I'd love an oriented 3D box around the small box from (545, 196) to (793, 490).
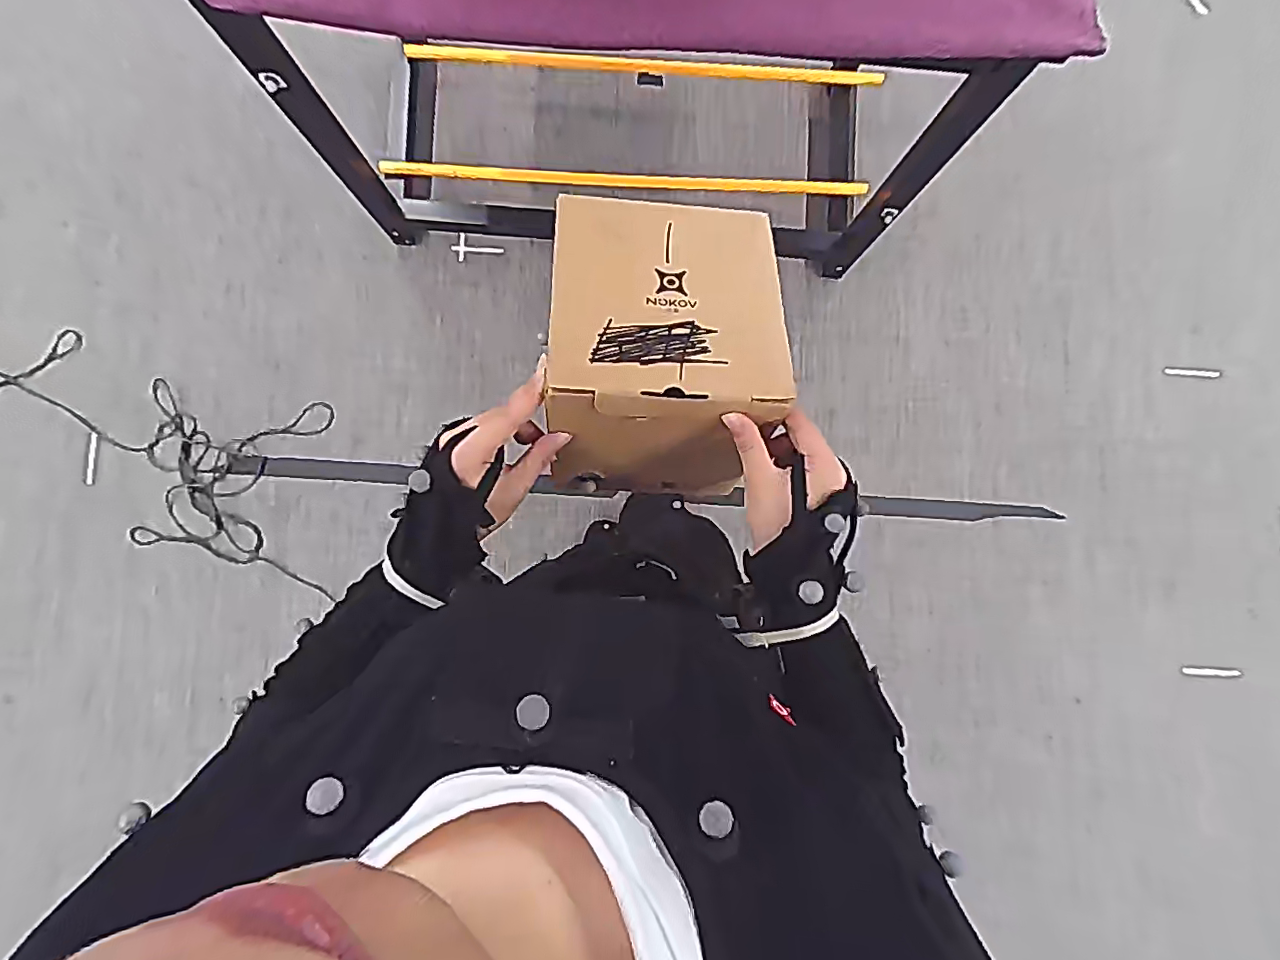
[{"bbox_3d":[0.013,-0.100,0.454,0.168,0.176,0.179,2,66,-6],"label":"small box"}]
